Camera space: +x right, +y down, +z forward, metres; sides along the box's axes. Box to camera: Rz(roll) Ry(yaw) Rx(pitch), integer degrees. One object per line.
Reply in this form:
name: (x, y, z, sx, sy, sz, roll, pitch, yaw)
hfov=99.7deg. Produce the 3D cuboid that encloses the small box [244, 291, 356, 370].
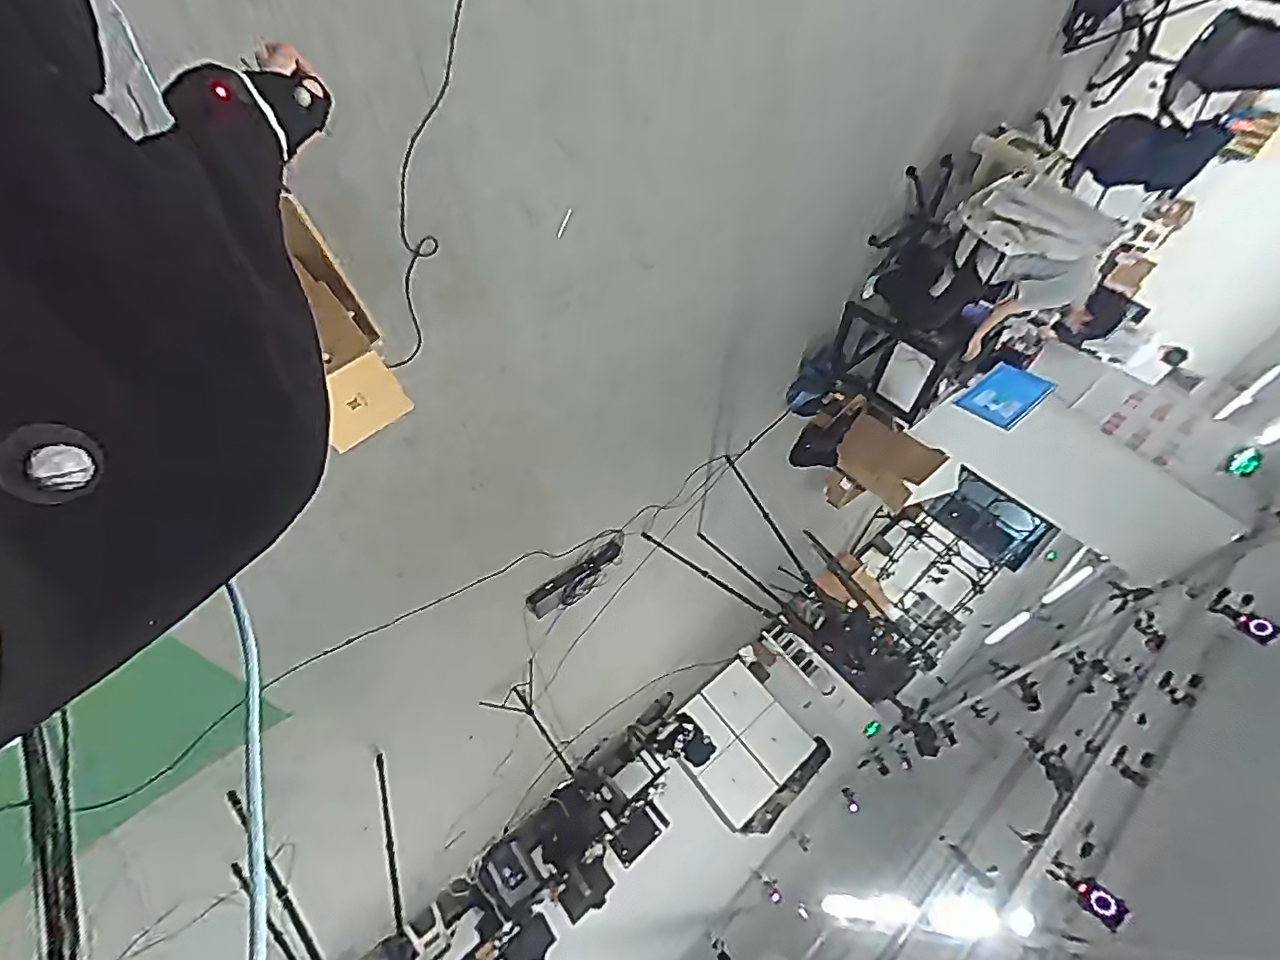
small box: (-0.709, -0.280, 1.175, 0.179, 0.176, 0.168, -35, 147, -20)

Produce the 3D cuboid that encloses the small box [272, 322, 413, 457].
small box: (-0.606, -0.186, 1.094, 0.179, 0.176, 0.168, -39, 148, -17)
